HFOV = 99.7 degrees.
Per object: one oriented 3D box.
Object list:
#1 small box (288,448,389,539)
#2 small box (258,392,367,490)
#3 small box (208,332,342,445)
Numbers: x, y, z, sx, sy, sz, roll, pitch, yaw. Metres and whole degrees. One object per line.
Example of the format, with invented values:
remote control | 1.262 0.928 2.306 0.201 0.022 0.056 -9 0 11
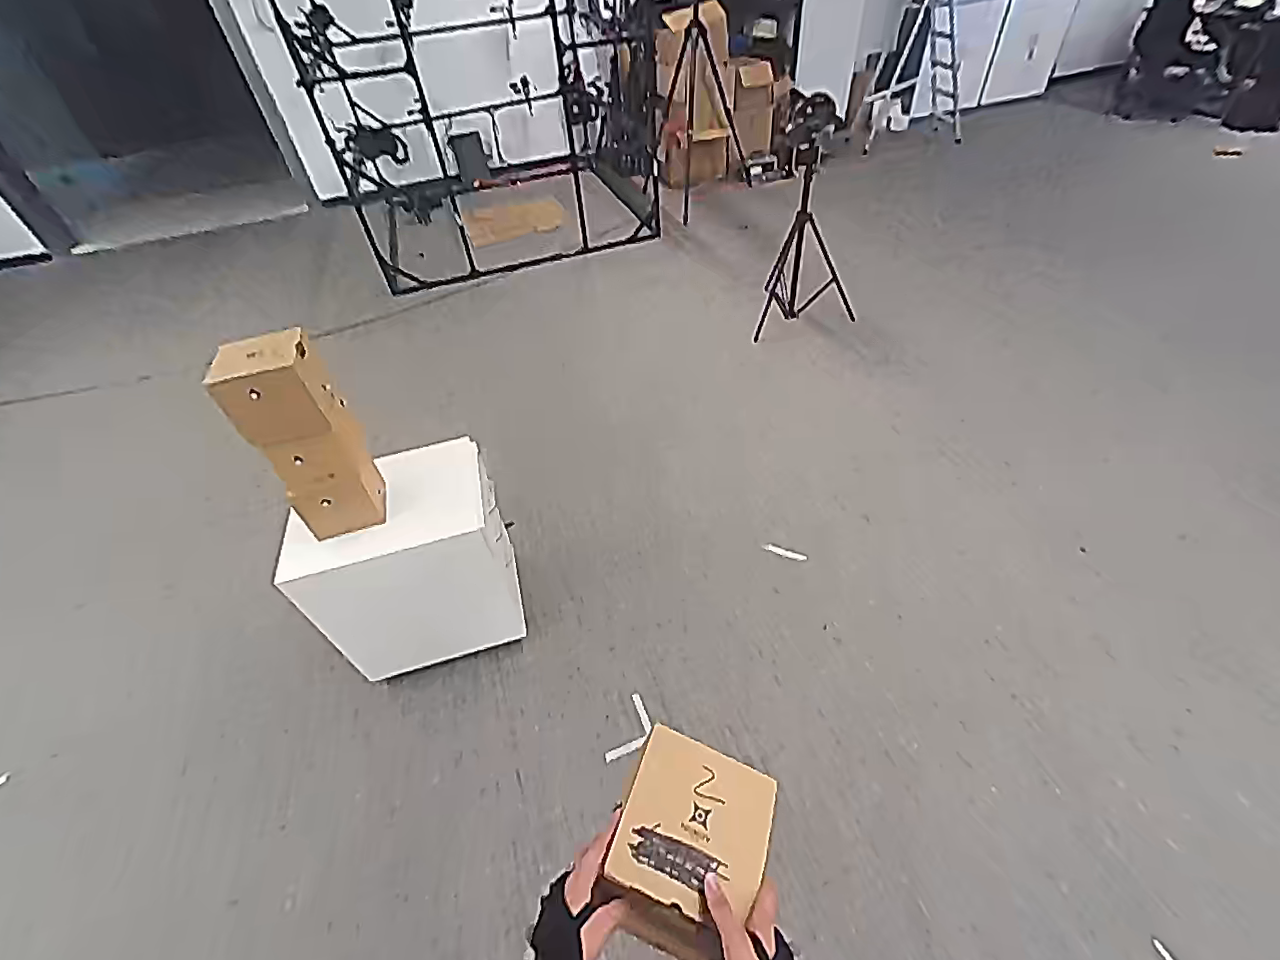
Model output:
small box | -0.788 0.032 1.432 0.179 0.176 0.168 -15 46 -11
small box | -0.792 -0.094 1.329 0.168 0.176 0.179 -15 45 -10
small box | -0.797 -0.200 1.201 0.179 0.176 0.168 -15 46 -10
